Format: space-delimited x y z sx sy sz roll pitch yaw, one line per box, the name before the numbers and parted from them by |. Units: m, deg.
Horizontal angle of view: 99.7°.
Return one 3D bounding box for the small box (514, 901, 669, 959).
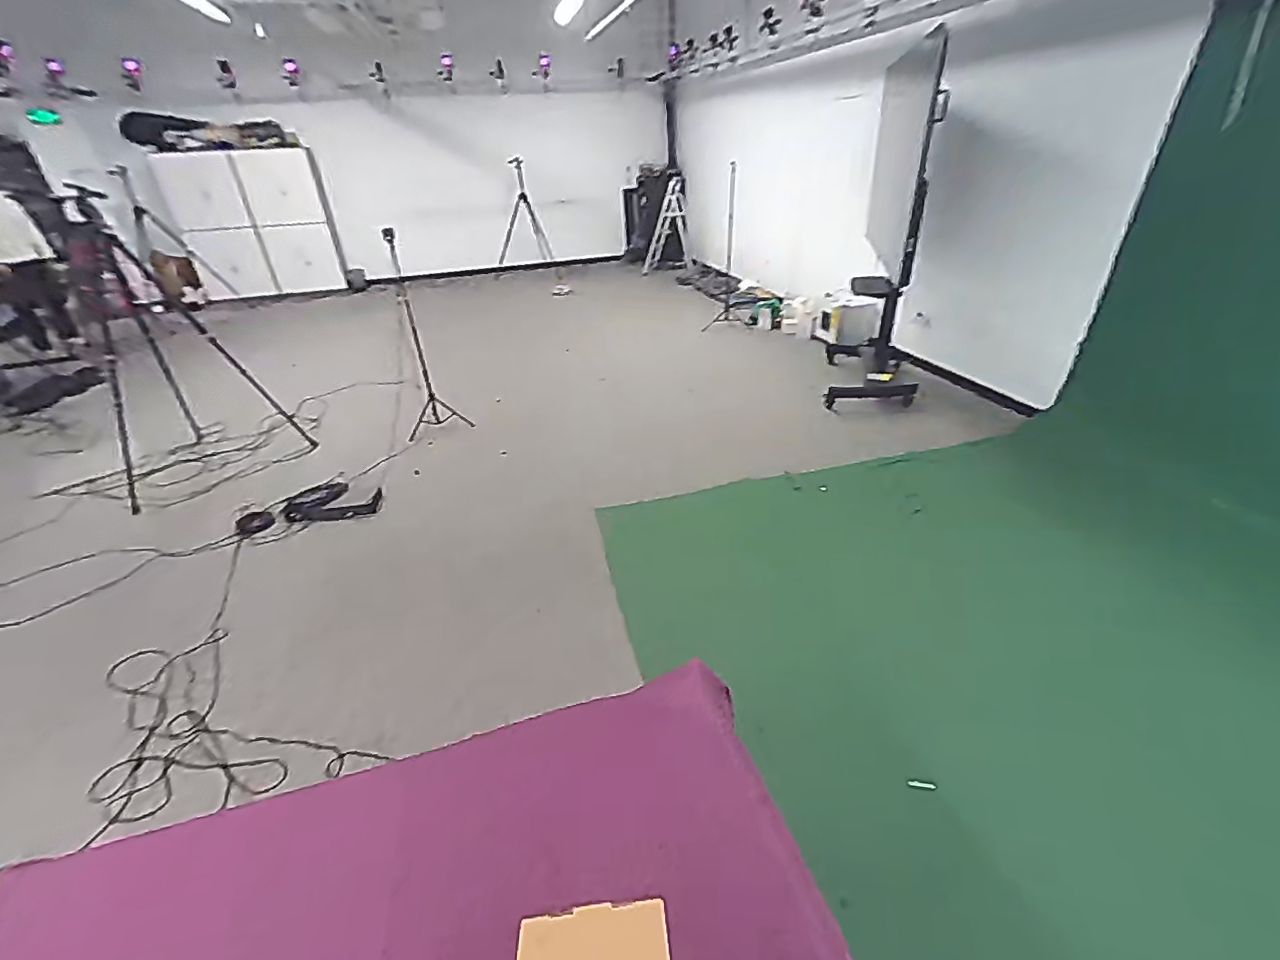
small box | -0.045 0.593 0.562 0.168 0.176 0.179 -6 21 -2
